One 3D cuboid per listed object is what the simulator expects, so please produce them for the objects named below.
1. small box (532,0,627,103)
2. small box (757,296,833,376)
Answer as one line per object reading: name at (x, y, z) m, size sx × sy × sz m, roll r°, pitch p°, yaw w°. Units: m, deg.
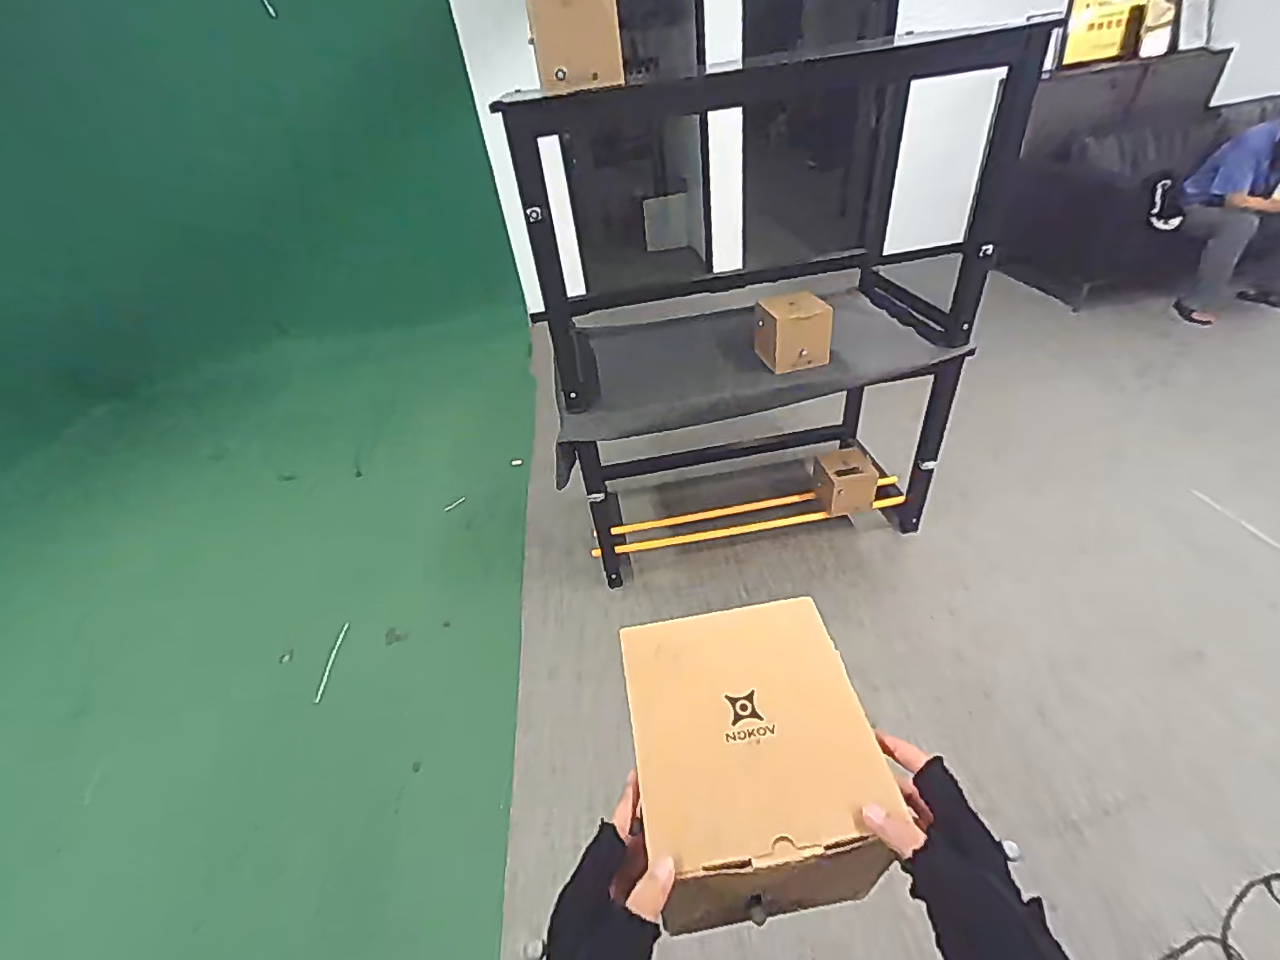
small box at (-0.130, -0.923, 1.160) m, size 0.168 × 0.176 × 0.179 m, roll -12°, pitch 37°, yaw -6°
small box at (0.455, -0.431, 1.617) m, size 0.168 × 0.176 × 0.179 m, roll -12°, pitch 37°, yaw -4°
